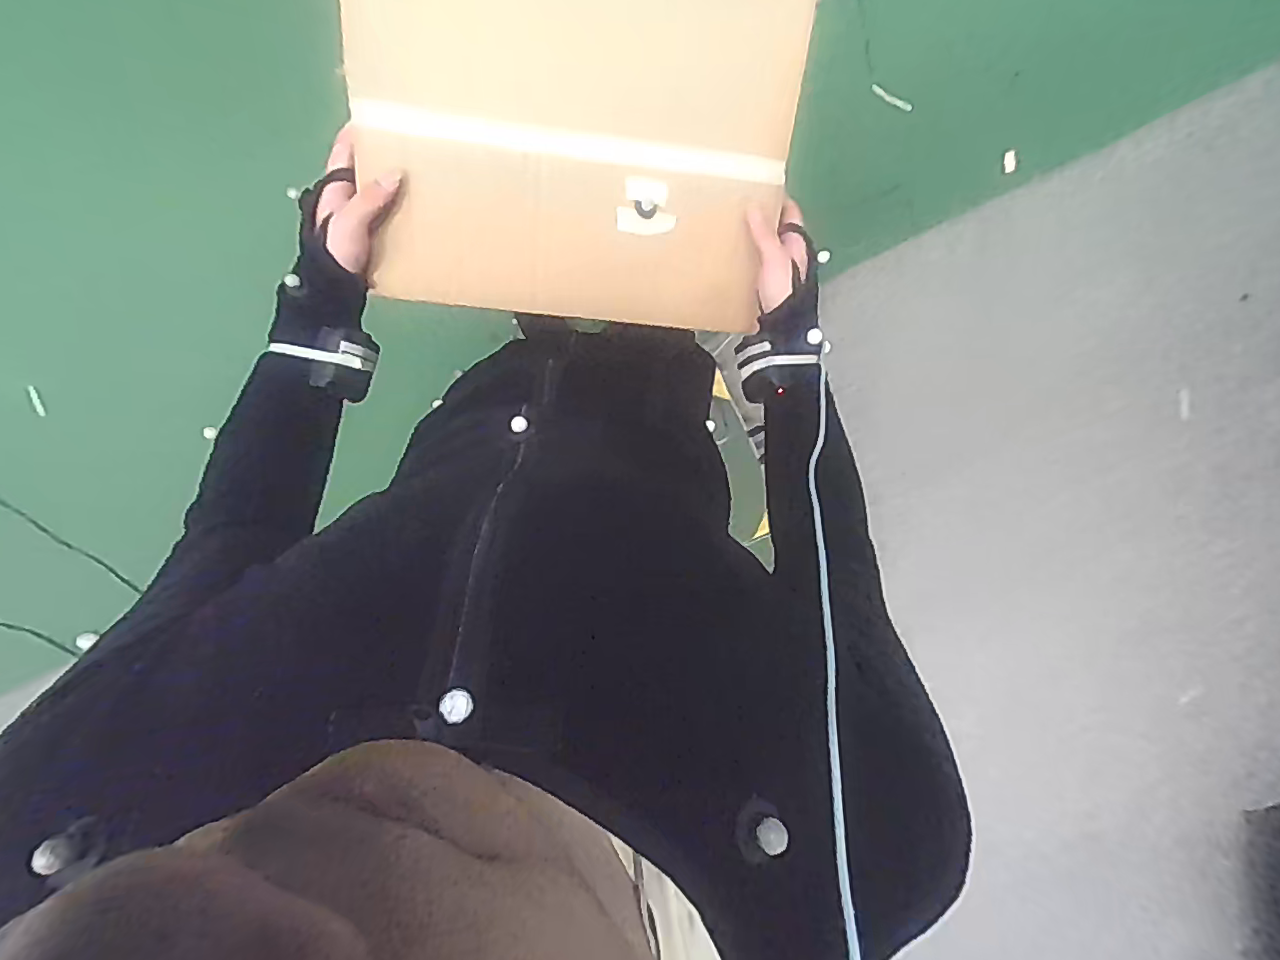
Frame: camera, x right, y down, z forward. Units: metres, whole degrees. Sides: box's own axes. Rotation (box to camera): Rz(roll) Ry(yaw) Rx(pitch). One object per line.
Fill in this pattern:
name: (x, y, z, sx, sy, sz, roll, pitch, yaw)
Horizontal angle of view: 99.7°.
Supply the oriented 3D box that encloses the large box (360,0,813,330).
large box: (-0.071, -0.375, 0.656, 0.408, 0.320, 0.320, 3, 114, -10)
